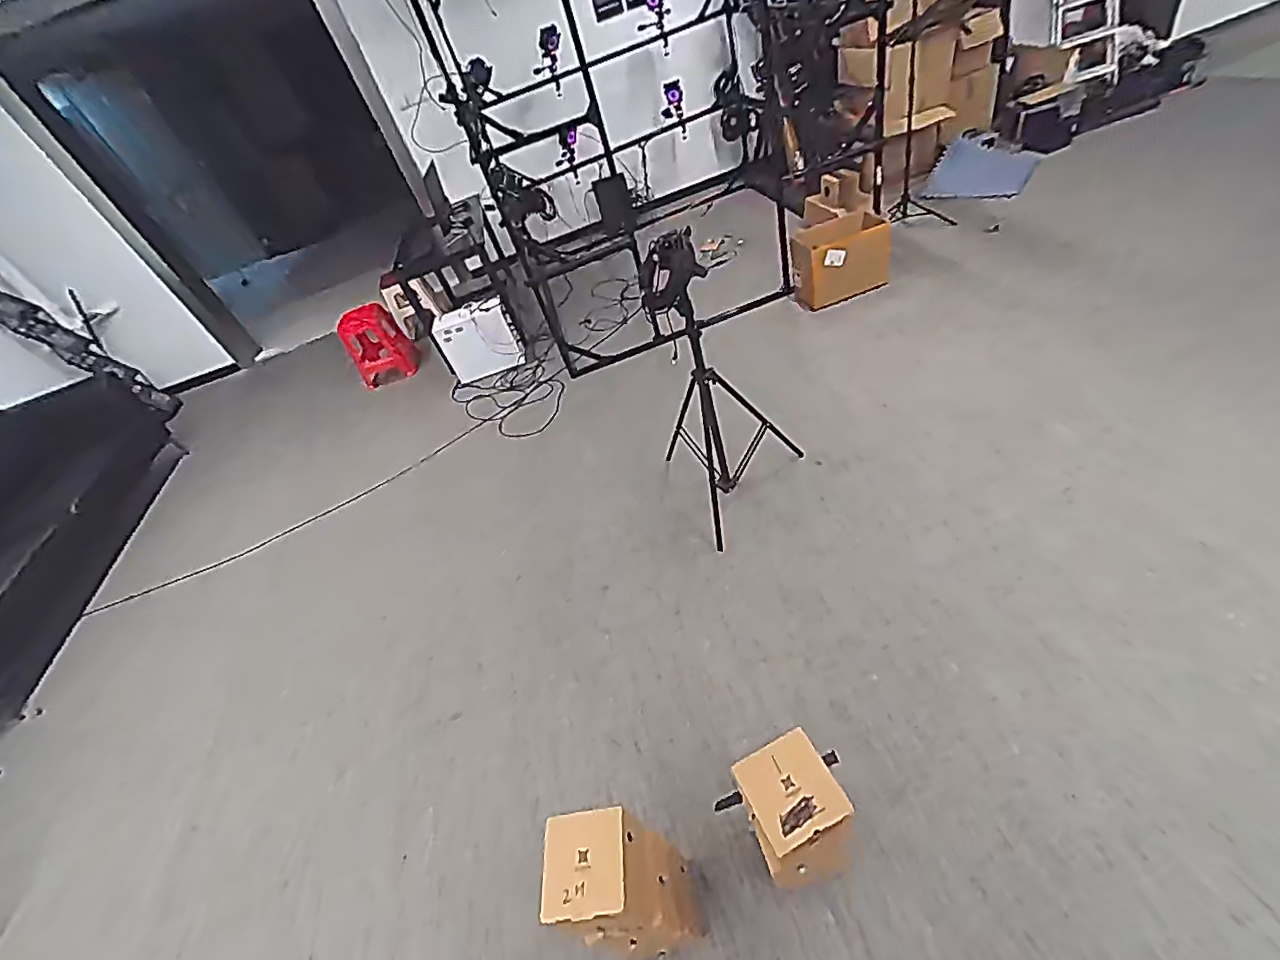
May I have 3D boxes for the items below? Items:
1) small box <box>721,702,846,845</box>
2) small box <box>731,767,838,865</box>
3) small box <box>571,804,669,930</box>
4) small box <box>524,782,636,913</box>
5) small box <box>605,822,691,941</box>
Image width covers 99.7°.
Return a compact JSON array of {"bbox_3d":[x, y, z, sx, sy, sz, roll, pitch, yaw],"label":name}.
[{"bbox_3d":[0.280,0.577,1.053,0.168,0.176,0.179,-27,43,-7],"label":"small box"},{"bbox_3d":[0.310,0.692,1.170,0.168,0.176,0.179,-22,42,-1],"label":"small box"},{"bbox_3d":[-0.047,0.836,1.167,0.168,0.176,0.179,-18,43,5],"label":"small box"},{"bbox_3d":[-0.110,0.724,1.063,0.168,0.176,0.179,-14,44,9],"label":"small box"},{"bbox_3d":[0.008,0.945,1.272,0.168,0.176,0.179,-21,42,4],"label":"small box"}]
